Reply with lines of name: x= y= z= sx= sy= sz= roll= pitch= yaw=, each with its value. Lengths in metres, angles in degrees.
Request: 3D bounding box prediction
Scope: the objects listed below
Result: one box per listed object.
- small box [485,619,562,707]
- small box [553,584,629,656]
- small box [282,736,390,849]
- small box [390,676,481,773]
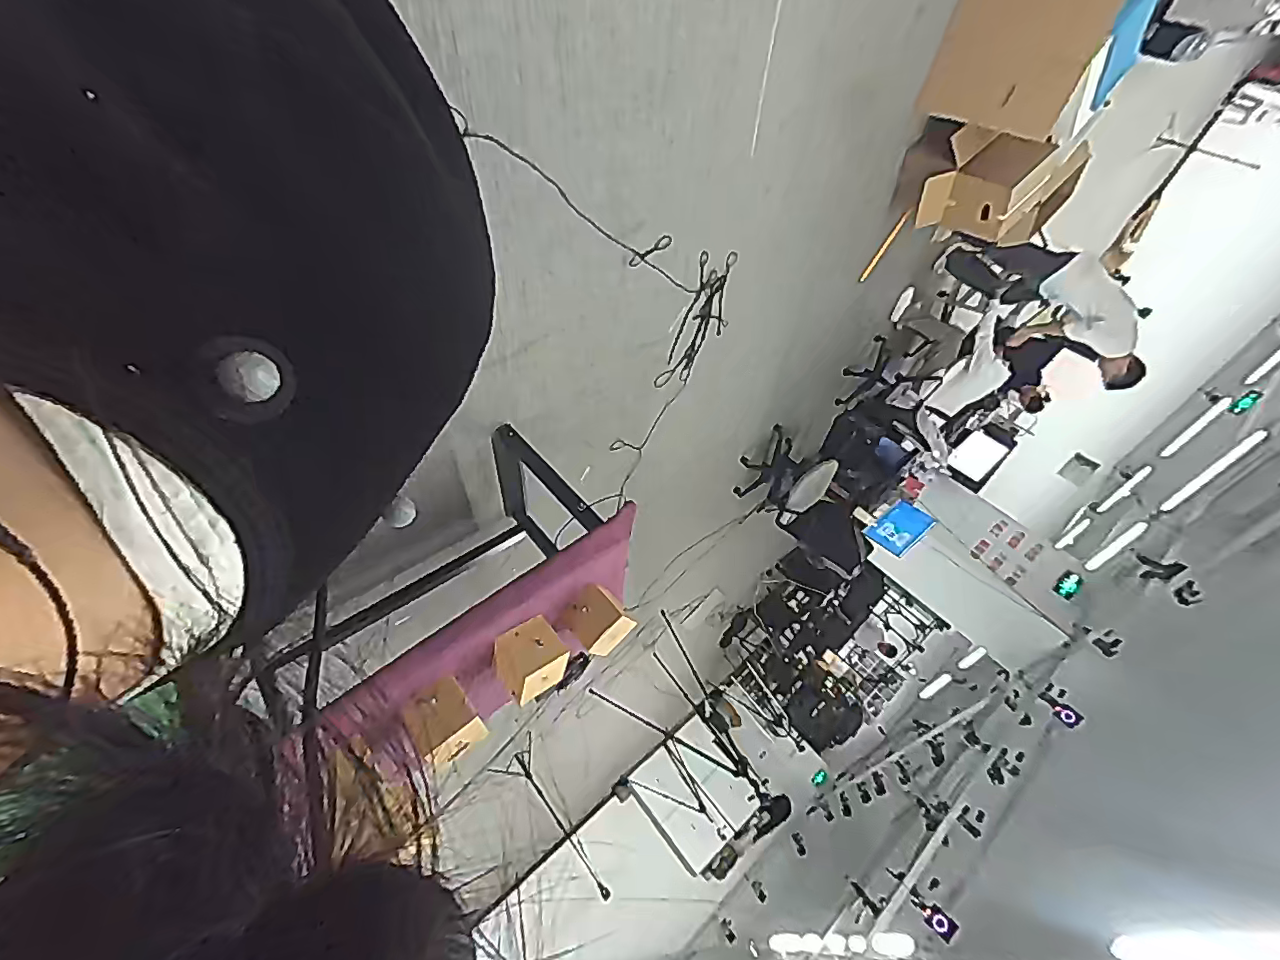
small box: x=-0.368 y=0.560 z=1.688 sx=0.168 sy=0.176 sz=0.179 roll=-23 pitch=145 yaw=-40
small box: x=-0.168 y=0.481 z=1.865 sx=0.168 sy=0.176 sz=0.179 roll=-45 pitch=152 yaw=-5
small box: x=-0.785 y=0.805 z=1.403 sx=0.179 sy=0.176 sz=0.168 roll=-30 pitch=149 yaw=-31
small box: x=-0.585 y=0.697 z=1.552 sx=0.168 sy=0.176 sz=0.179 roll=-34 pitch=149 yaw=-26
